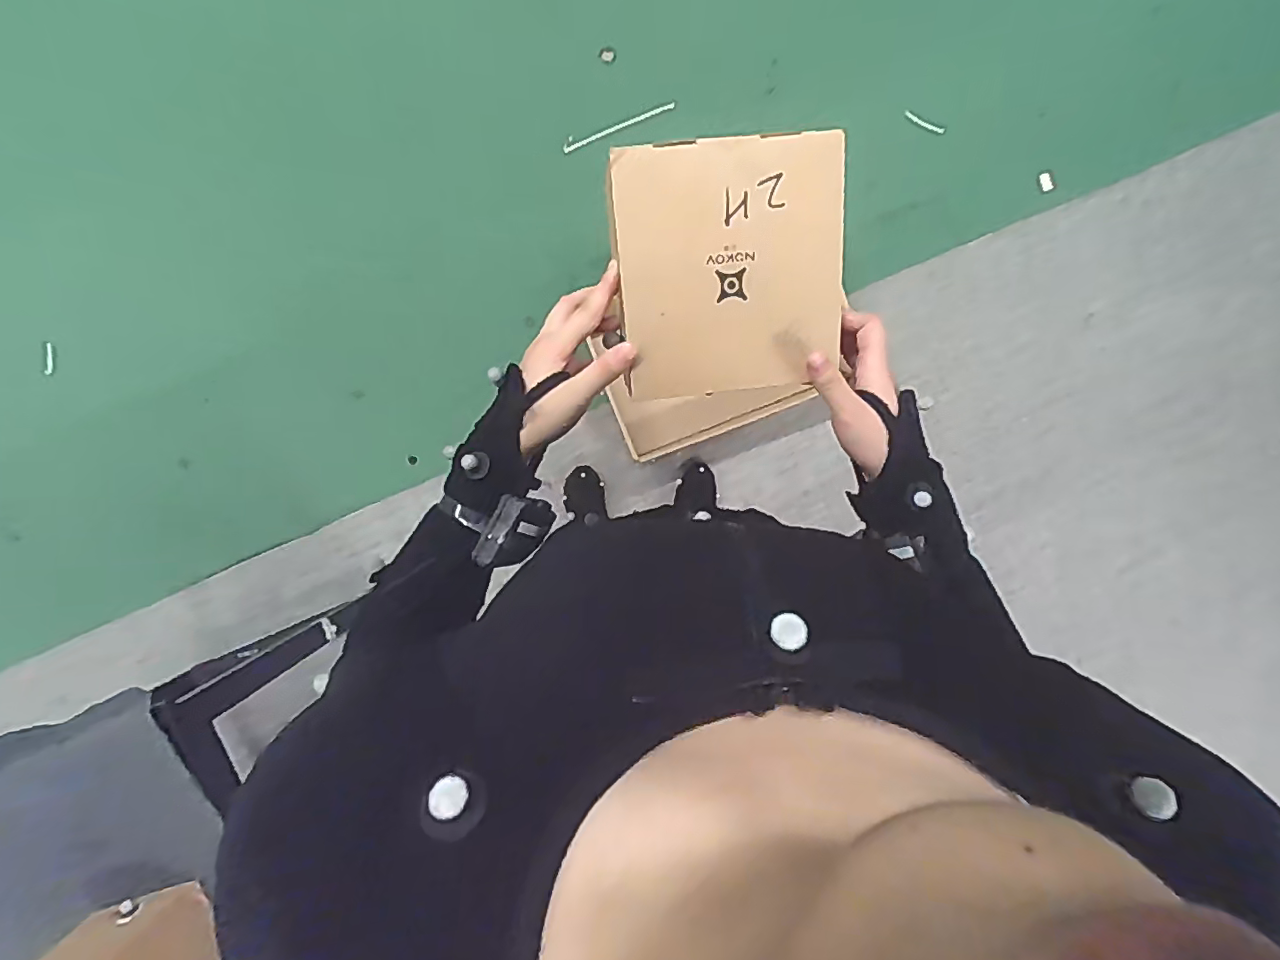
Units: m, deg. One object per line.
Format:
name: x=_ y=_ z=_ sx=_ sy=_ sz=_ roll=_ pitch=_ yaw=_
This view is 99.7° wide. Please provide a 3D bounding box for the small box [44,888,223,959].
small box: x=-0.663 y=0.671 z=0.674 sx=0.168 sy=0.176 sz=0.179 roll=-20 pitch=93 yaw=-1
